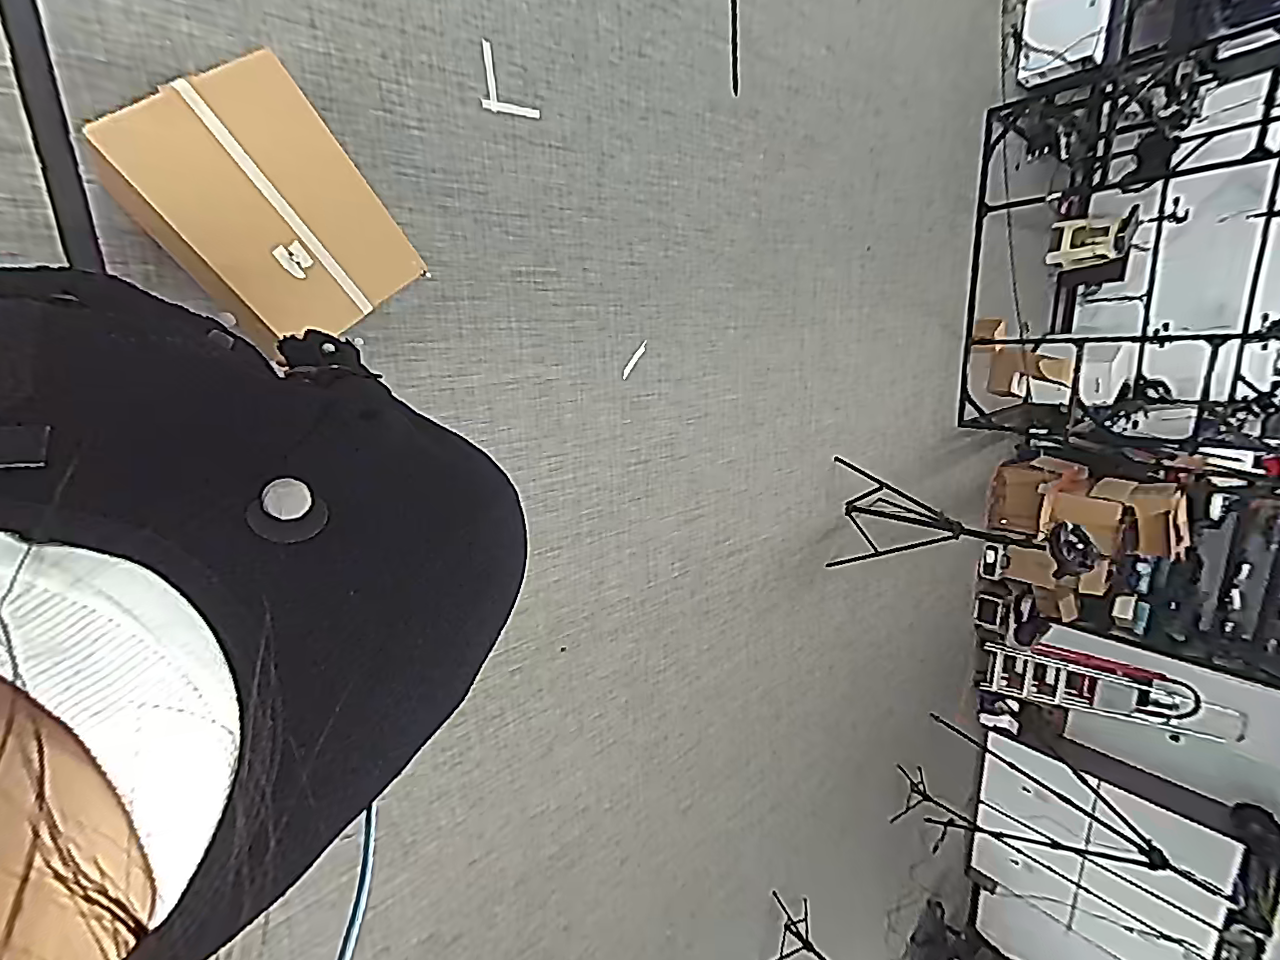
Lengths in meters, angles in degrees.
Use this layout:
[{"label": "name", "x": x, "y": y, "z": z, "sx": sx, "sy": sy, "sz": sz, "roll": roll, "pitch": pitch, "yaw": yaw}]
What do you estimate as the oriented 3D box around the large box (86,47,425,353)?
[{"label": "large box", "x": -0.719, "y": -0.499, "z": 1.051, "sx": 0.320, "sy": 0.320, "sz": 0.408, "roll": -49, "pitch": 127, "yaw": -23}]
